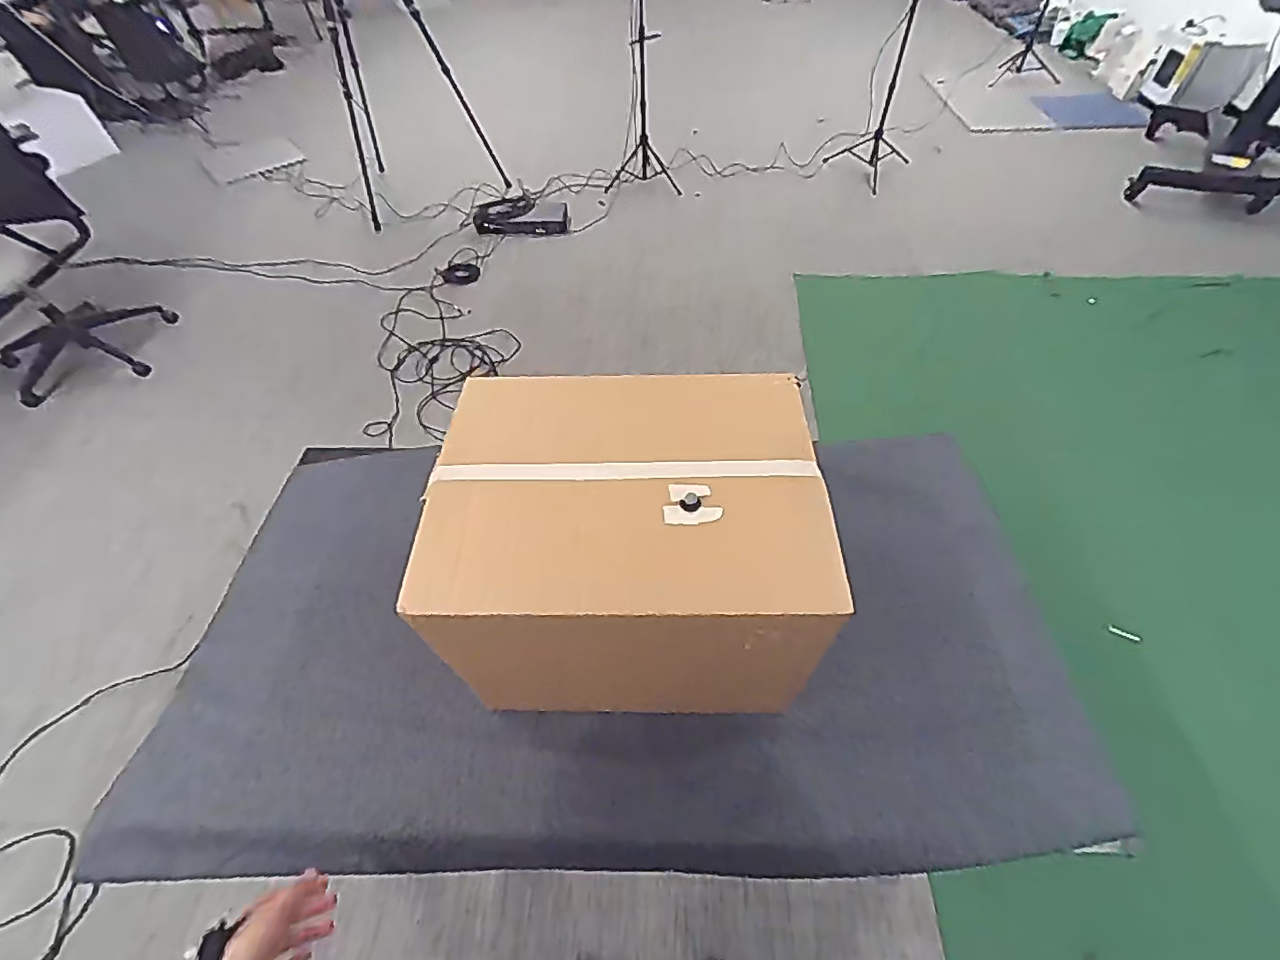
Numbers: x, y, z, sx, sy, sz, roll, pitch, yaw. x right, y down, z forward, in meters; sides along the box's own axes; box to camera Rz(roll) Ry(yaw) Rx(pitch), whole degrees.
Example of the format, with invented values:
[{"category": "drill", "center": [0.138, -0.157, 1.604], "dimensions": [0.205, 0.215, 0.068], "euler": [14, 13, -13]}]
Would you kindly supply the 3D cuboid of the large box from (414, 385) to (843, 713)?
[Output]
[{"category": "large box", "center": [-0.010, 0.097, 0.699], "dimensions": [0.408, 0.320, 0.320], "euler": [0, 52, 1]}]
